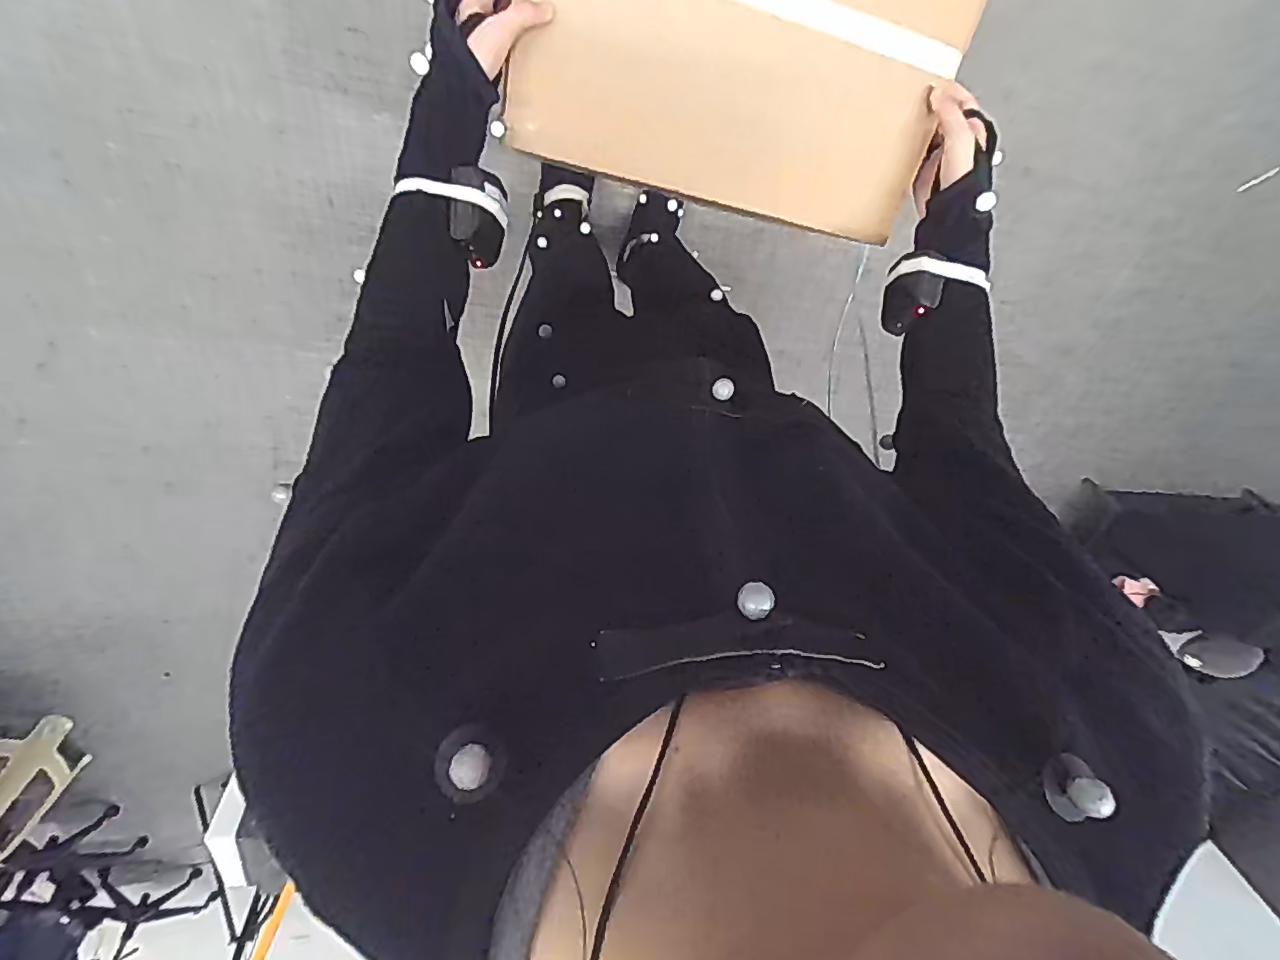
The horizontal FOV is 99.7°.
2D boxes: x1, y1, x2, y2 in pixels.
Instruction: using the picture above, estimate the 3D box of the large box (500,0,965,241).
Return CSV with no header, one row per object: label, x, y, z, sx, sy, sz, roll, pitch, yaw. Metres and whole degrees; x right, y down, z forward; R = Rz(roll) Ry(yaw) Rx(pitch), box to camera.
large box,0.074,-0.489,0.605,0.408,0.320,0.320,8,118,-14
